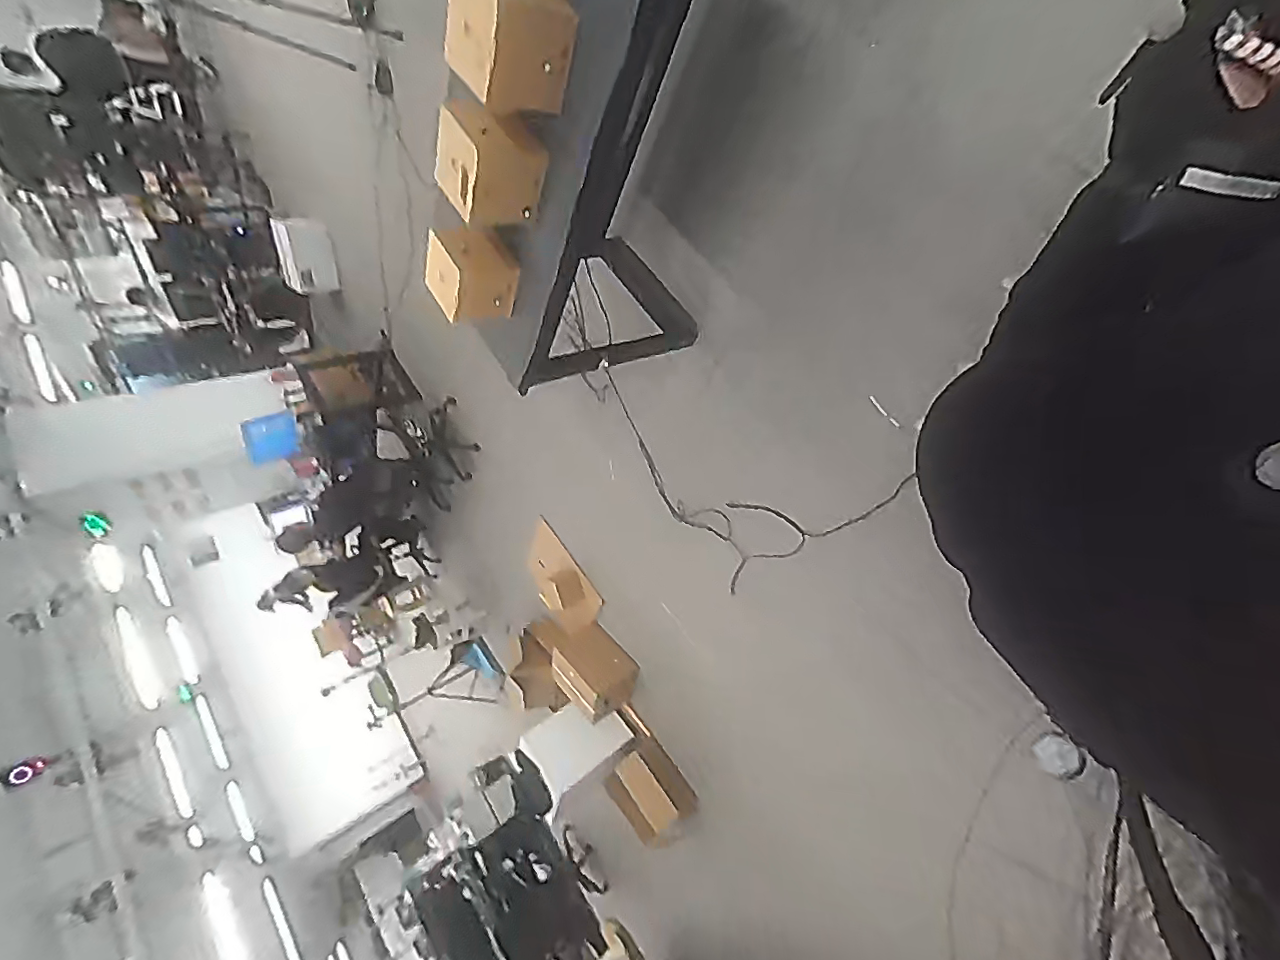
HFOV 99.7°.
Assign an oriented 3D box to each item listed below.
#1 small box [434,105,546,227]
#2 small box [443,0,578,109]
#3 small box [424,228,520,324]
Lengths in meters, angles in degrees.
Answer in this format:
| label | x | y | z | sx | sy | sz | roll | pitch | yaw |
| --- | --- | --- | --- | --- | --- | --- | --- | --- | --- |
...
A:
| label | x | y | z | sx | sy | sz | roll | pitch | yaw |
| --- | --- | --- | --- | --- | --- | --- | --- | --- | --- |
| small box | -0.332 | -0.690 | 1.196 | 0.179 | 0.176 | 0.168 | 55 | 141 | 17 |
| small box | -0.246 | -0.828 | 1.016 | 0.179 | 0.176 | 0.168 | 53 | 142 | 18 |
| small box | -0.440 | -0.532 | 1.411 | 0.179 | 0.176 | 0.168 | 54 | 141 | 19 |
